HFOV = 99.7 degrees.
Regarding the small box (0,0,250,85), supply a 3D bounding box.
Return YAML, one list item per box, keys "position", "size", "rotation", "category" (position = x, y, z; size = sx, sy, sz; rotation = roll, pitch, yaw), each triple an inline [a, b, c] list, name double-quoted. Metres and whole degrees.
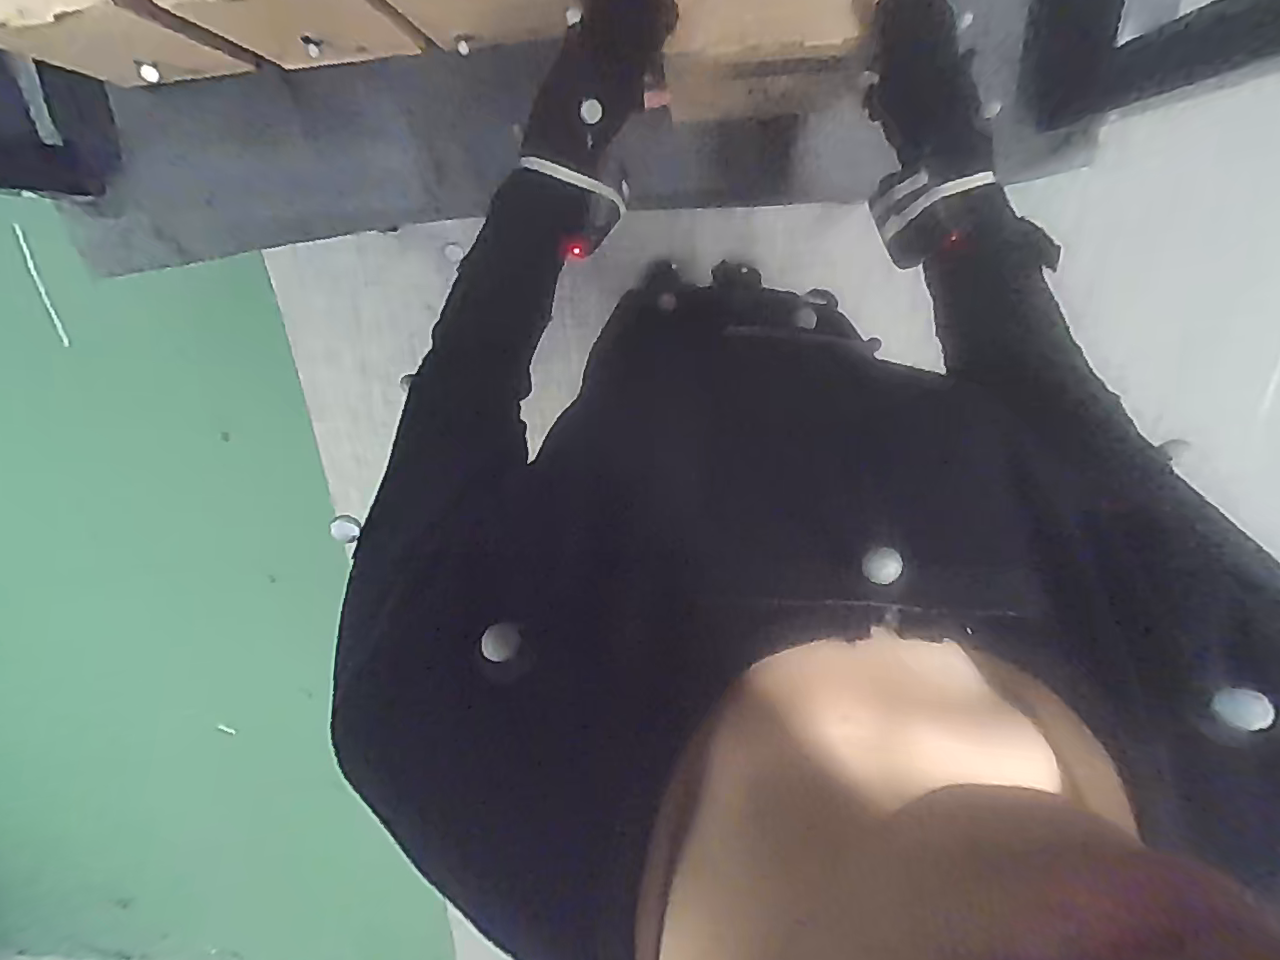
- position: [-0.517, -0.501, 0.499]
  size: [0.168, 0.176, 0.179]
  rotation: [-3, 112, 6]
  category: "small box"
